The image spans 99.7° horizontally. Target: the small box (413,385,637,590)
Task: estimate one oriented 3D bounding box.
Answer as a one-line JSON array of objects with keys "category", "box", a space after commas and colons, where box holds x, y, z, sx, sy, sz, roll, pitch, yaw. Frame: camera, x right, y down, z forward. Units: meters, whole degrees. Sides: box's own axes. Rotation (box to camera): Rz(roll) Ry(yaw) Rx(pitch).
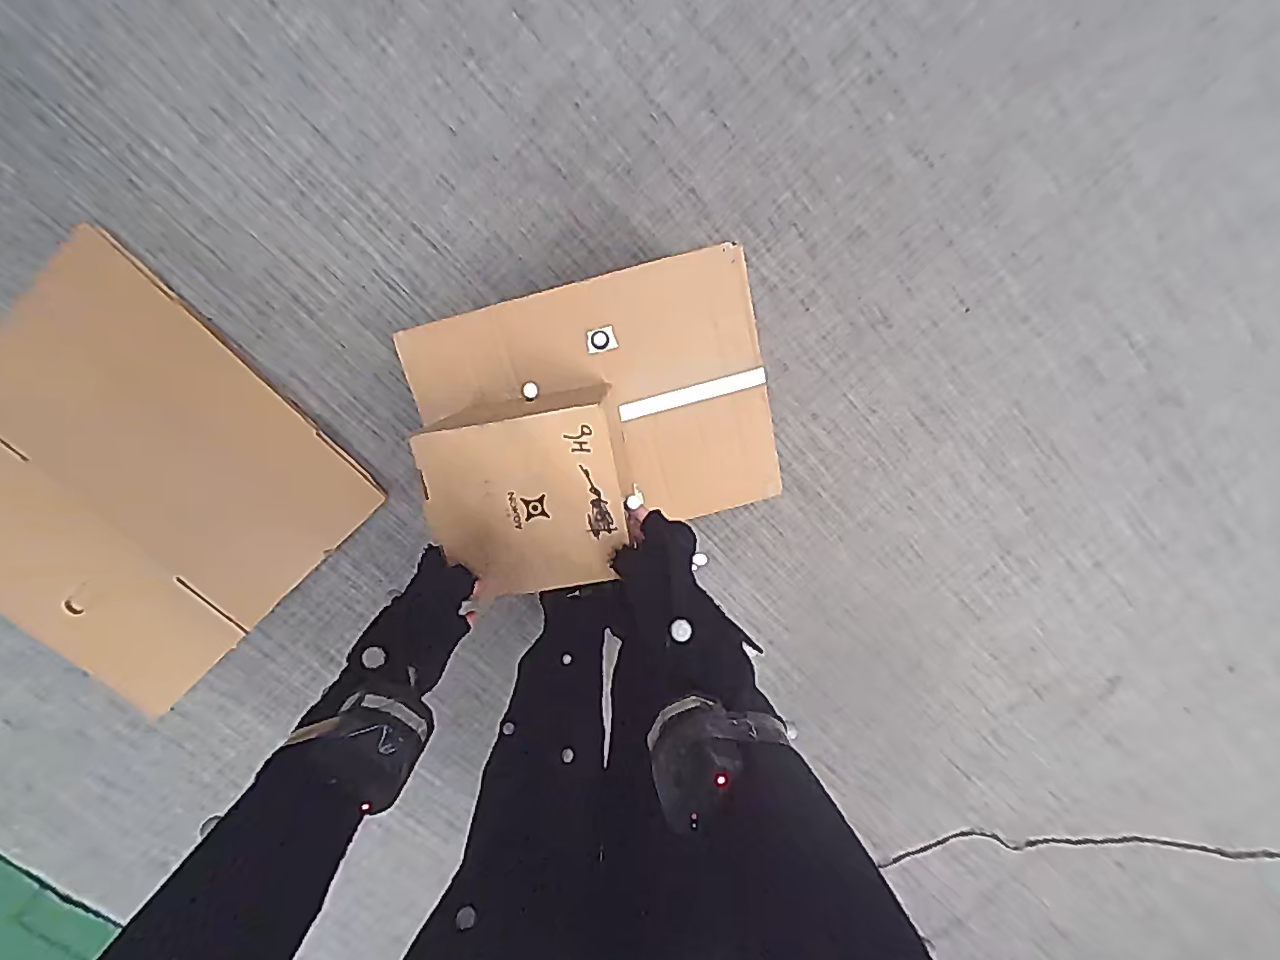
[{"category": "small box", "box": [-0.105, -0.003, 0.580, 0.179, 0.176, 0.168, -12, 102, 4]}]
